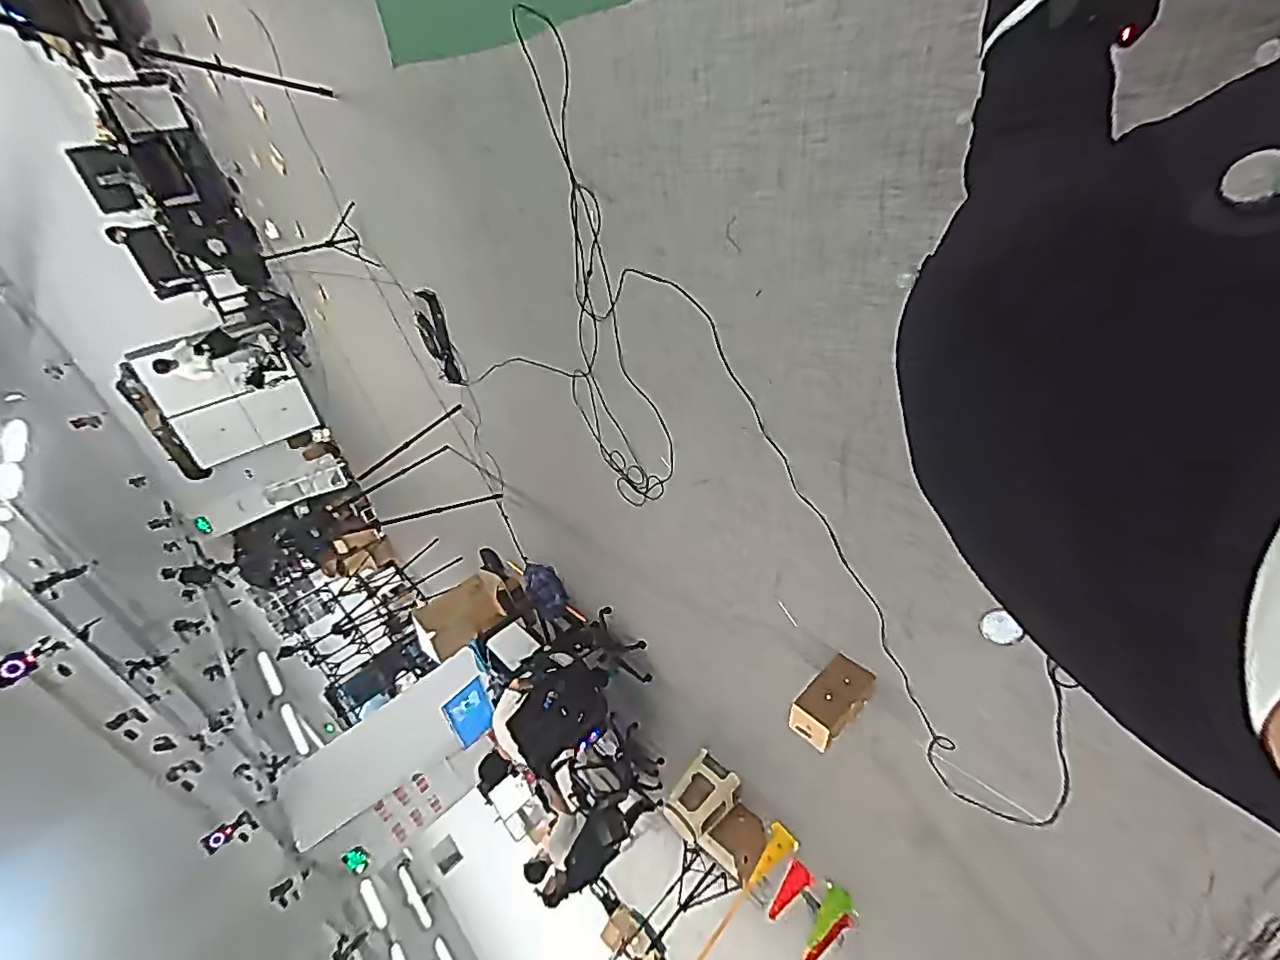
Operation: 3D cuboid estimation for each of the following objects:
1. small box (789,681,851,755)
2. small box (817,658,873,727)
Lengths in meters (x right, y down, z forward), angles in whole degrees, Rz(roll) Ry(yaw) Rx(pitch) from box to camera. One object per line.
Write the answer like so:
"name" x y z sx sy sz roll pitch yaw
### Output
"small box" 0.723 0.952 2.172 0.168 0.176 0.179 30 138 37
"small box" 0.846 0.880 2.255 0.179 0.176 0.168 29 138 37
